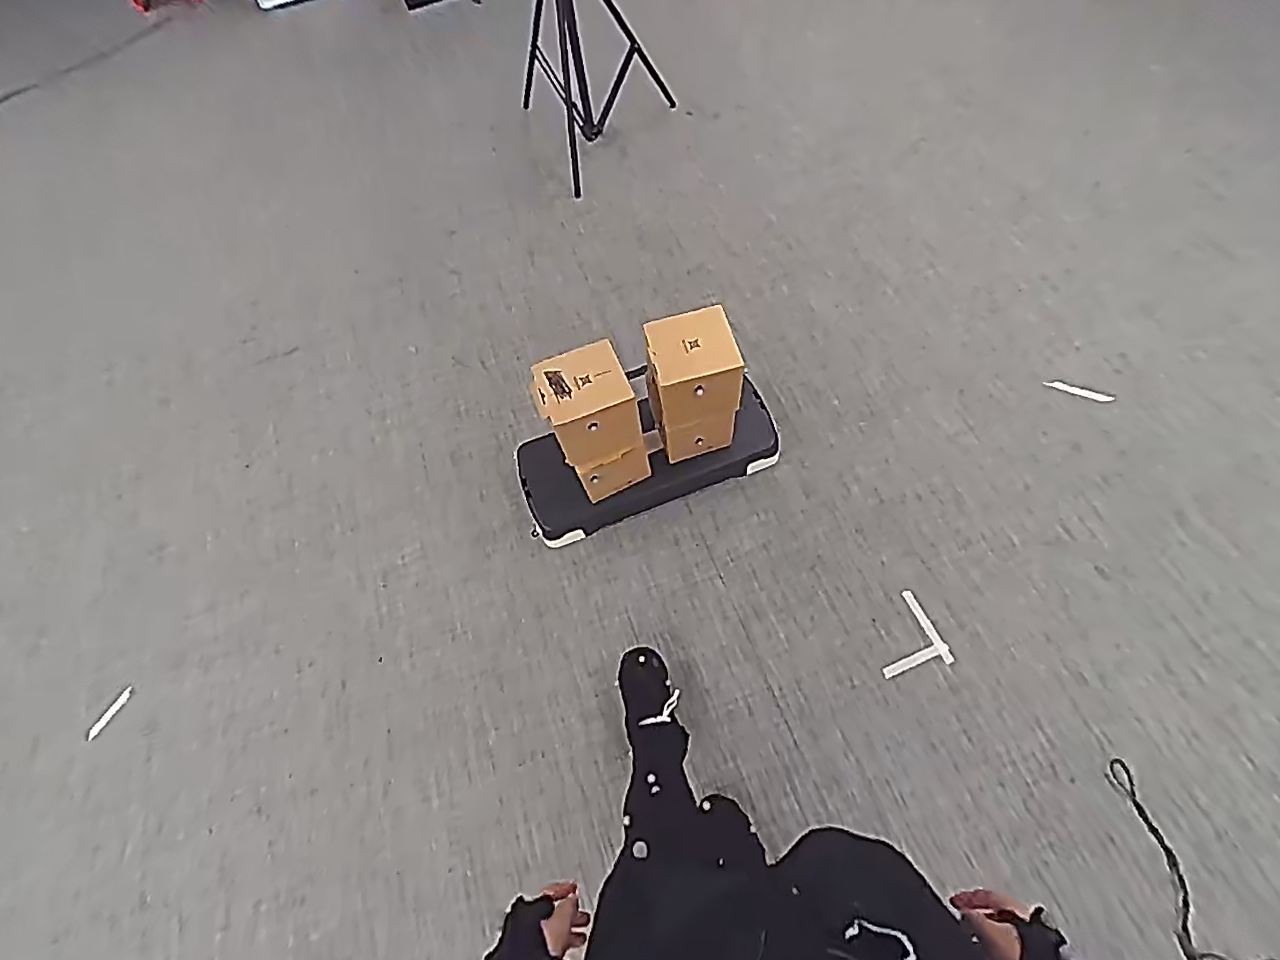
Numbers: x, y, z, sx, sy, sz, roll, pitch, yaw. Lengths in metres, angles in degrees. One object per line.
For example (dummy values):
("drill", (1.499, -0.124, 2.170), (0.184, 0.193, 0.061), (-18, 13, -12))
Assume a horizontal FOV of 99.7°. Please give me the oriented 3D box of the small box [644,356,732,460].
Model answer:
("small box", (0.118, -0.166, 1.321), (0.168, 0.176, 0.179), (-17, 65, -2))
